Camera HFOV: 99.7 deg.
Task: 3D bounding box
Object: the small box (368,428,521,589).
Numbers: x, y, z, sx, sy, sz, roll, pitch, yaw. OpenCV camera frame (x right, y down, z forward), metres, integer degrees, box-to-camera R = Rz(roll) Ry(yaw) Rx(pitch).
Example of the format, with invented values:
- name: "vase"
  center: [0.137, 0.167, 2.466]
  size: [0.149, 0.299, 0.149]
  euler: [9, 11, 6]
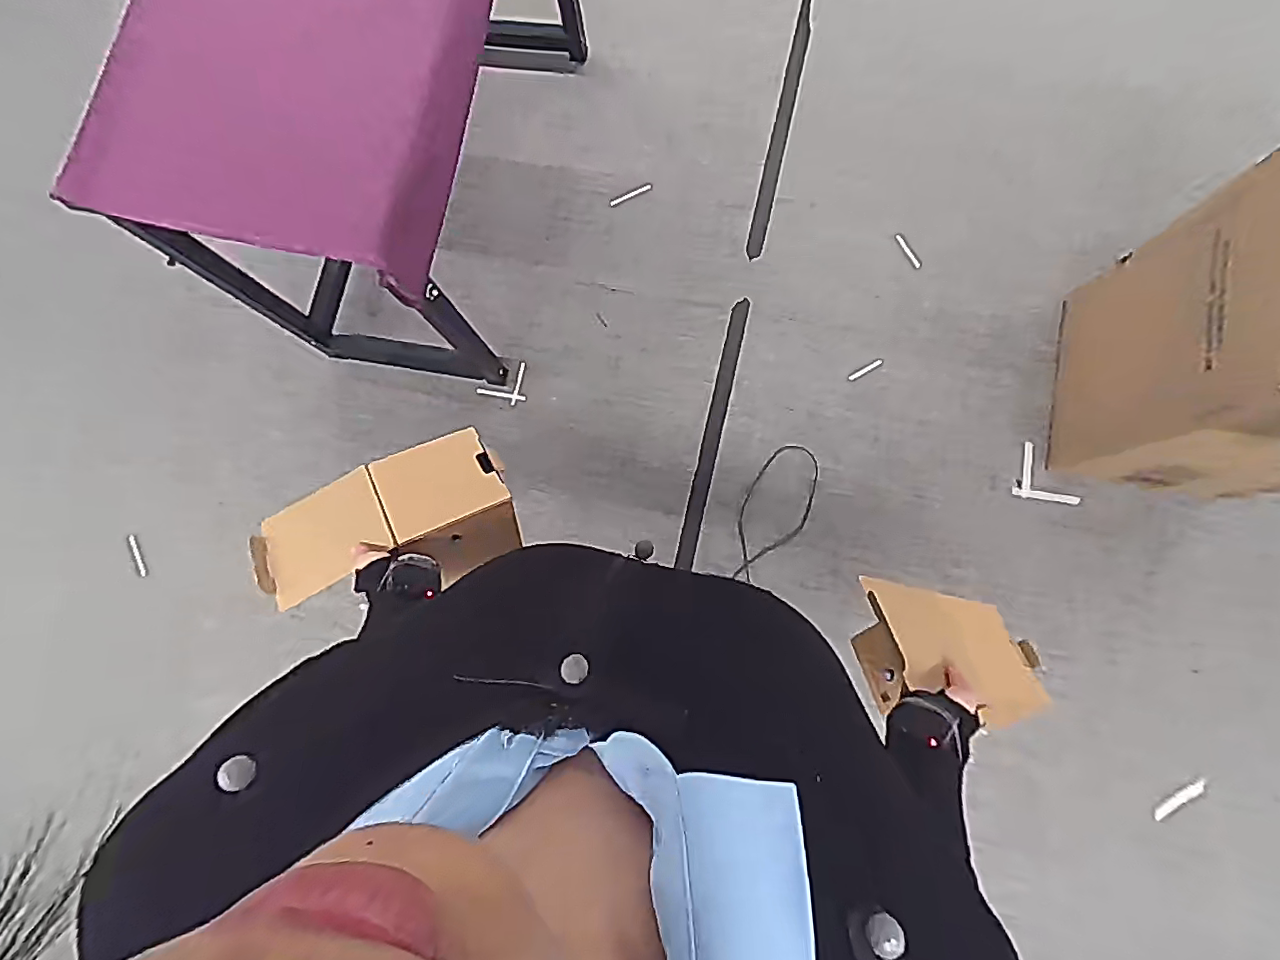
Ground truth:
- name: "small box"
  center: [-0.312, 0.051, 0.889]
  size: [0.179, 0.176, 0.168]
  euler: [-24, 60, -20]
